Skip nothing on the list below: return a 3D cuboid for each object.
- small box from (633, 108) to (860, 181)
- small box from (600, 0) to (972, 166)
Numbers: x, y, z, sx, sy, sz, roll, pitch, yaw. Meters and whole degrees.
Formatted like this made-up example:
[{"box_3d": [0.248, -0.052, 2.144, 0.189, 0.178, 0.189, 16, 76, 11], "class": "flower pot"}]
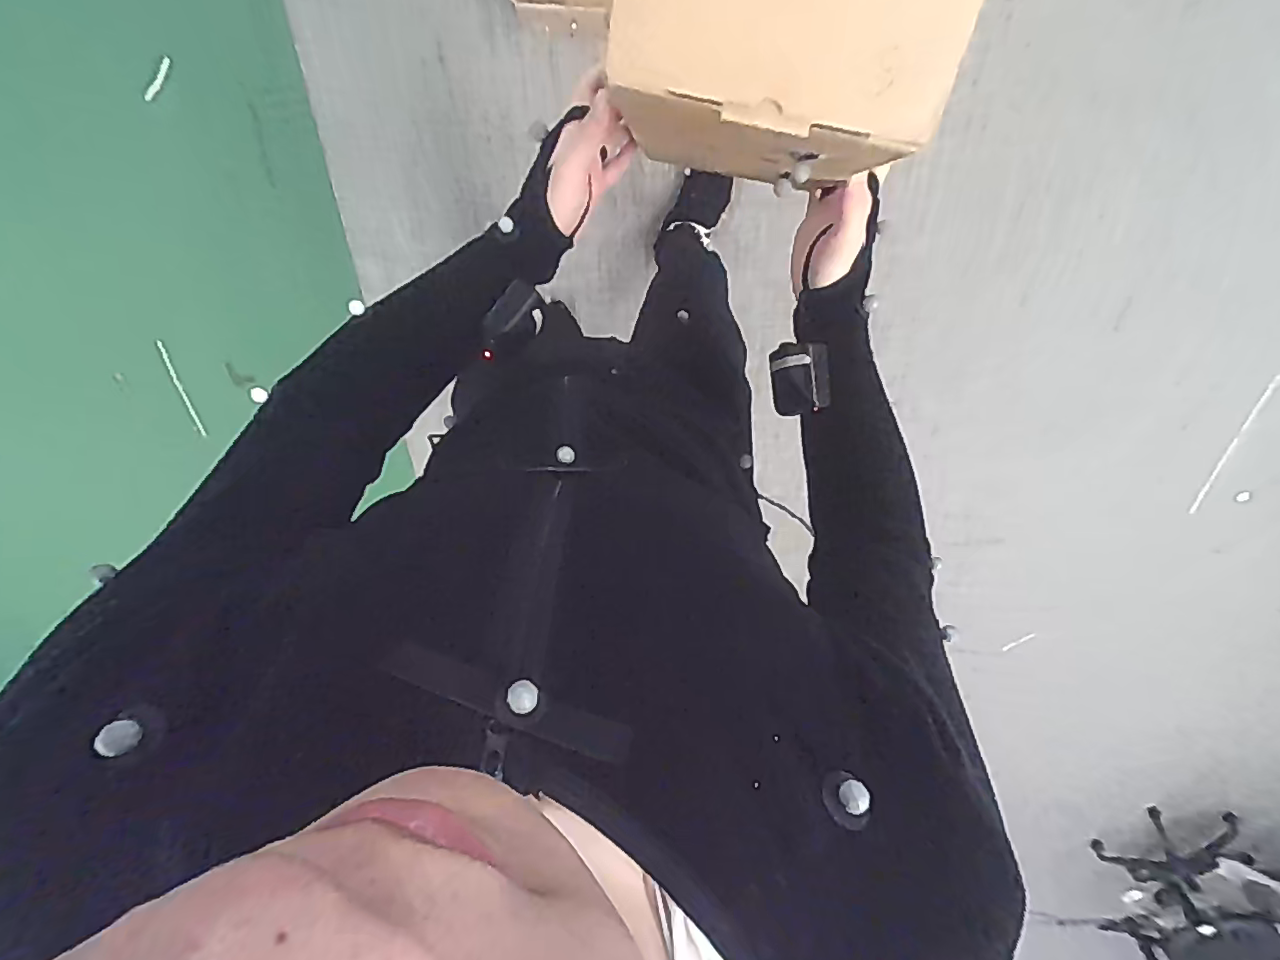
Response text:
[{"box_3d": [0.102, -0.358, 0.449, 0.179, 0.176, 0.168, 13, 116, 1], "class": "small box"}, {"box_3d": [0.084, -0.292, 0.301, 0.168, 0.176, 0.179, 13, 115, -1], "class": "small box"}]
